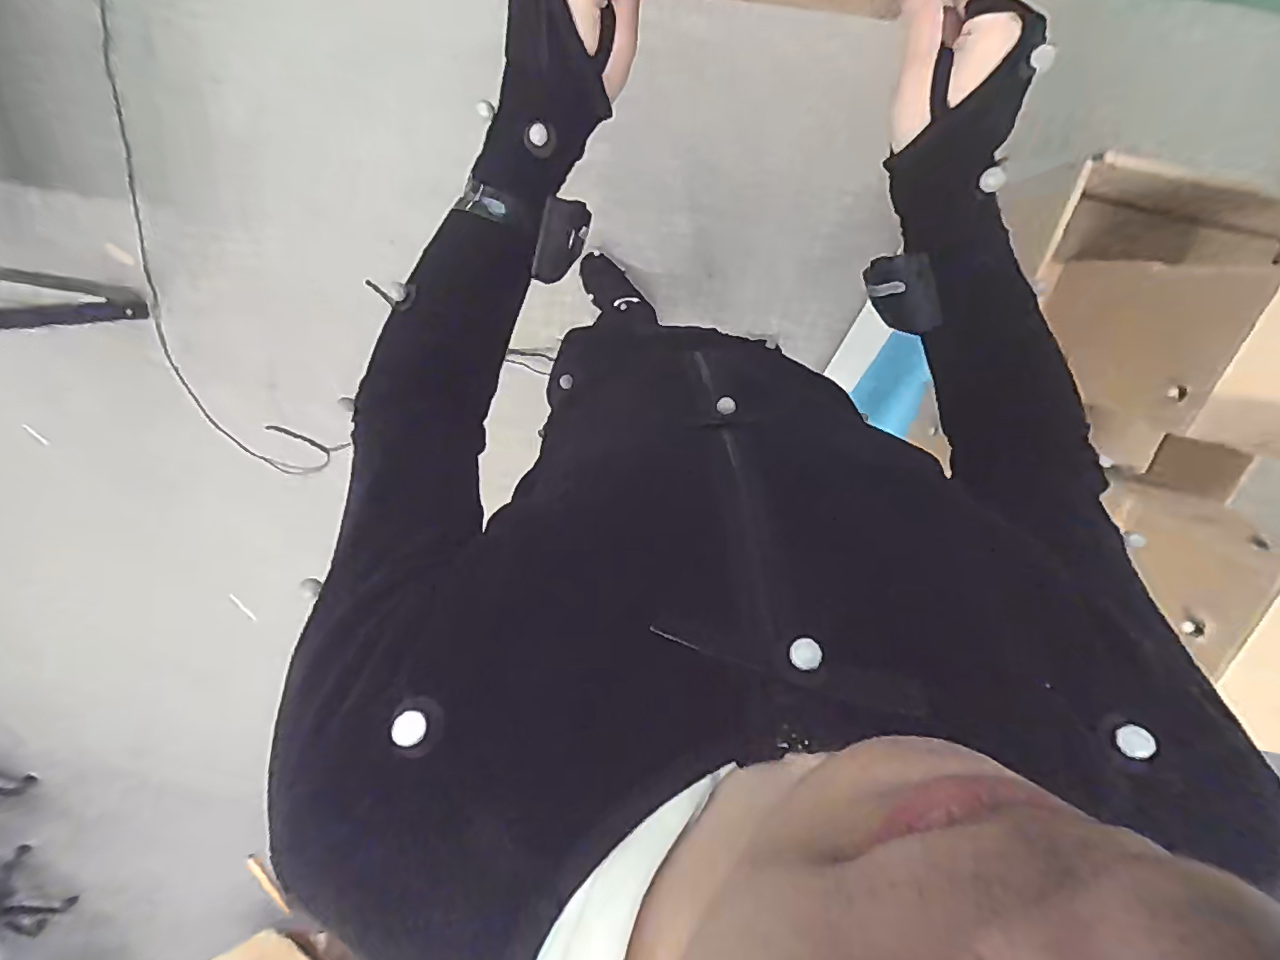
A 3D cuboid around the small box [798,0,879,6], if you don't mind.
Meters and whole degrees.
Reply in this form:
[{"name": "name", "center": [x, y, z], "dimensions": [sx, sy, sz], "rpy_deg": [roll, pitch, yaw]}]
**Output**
[{"name": "small box", "center": [0.095, -0.385, 0.273], "dimensions": [0.179, 0.176, 0.168], "rpy_deg": [7, 107, 1]}]
